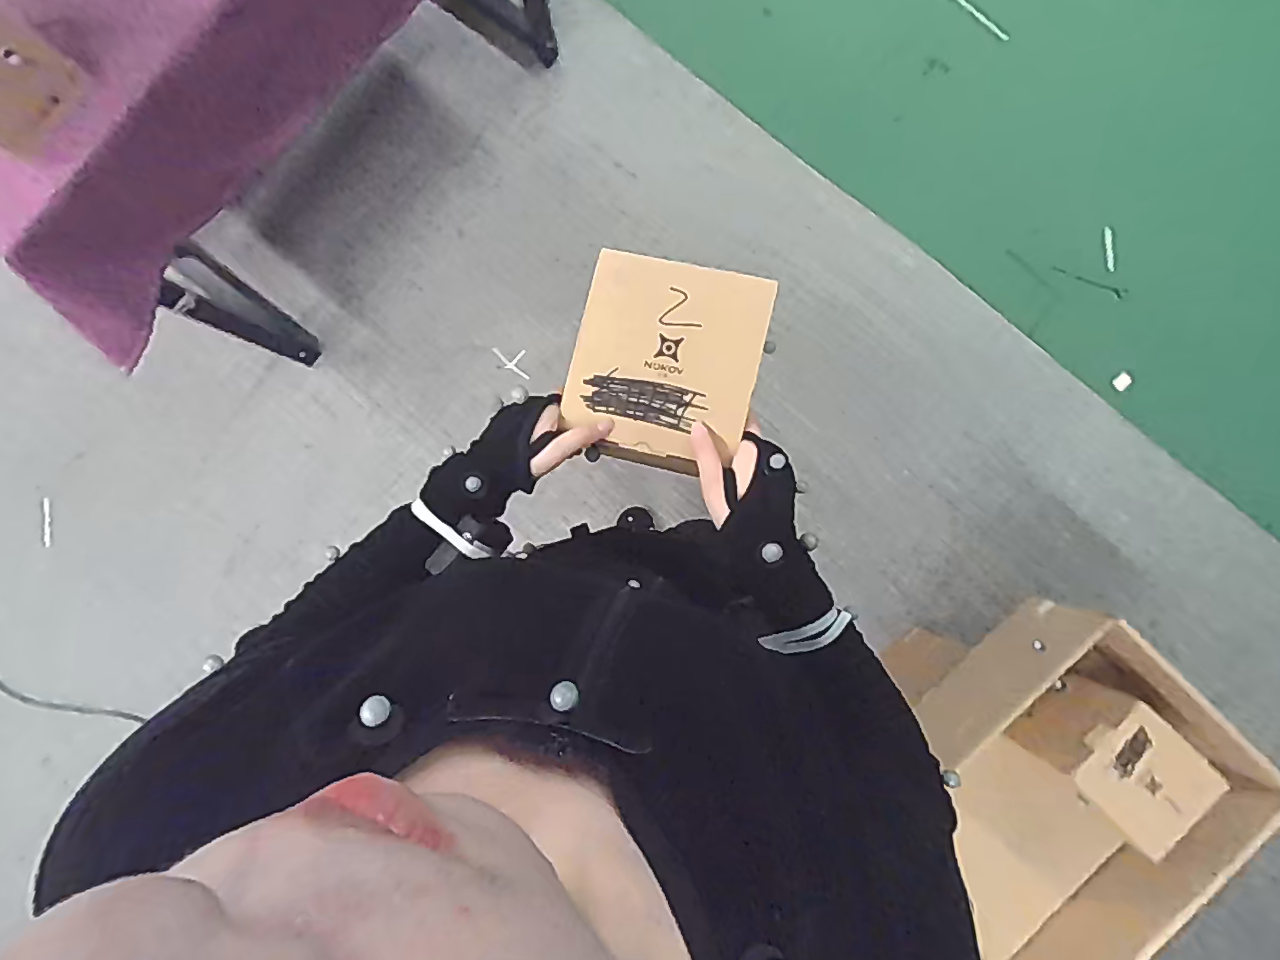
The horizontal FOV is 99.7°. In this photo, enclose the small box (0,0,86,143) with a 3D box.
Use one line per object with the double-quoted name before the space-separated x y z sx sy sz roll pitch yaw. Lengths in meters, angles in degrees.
"small box" -0.959 -0.618 0.755 0.179 0.176 0.168 37 87 4
